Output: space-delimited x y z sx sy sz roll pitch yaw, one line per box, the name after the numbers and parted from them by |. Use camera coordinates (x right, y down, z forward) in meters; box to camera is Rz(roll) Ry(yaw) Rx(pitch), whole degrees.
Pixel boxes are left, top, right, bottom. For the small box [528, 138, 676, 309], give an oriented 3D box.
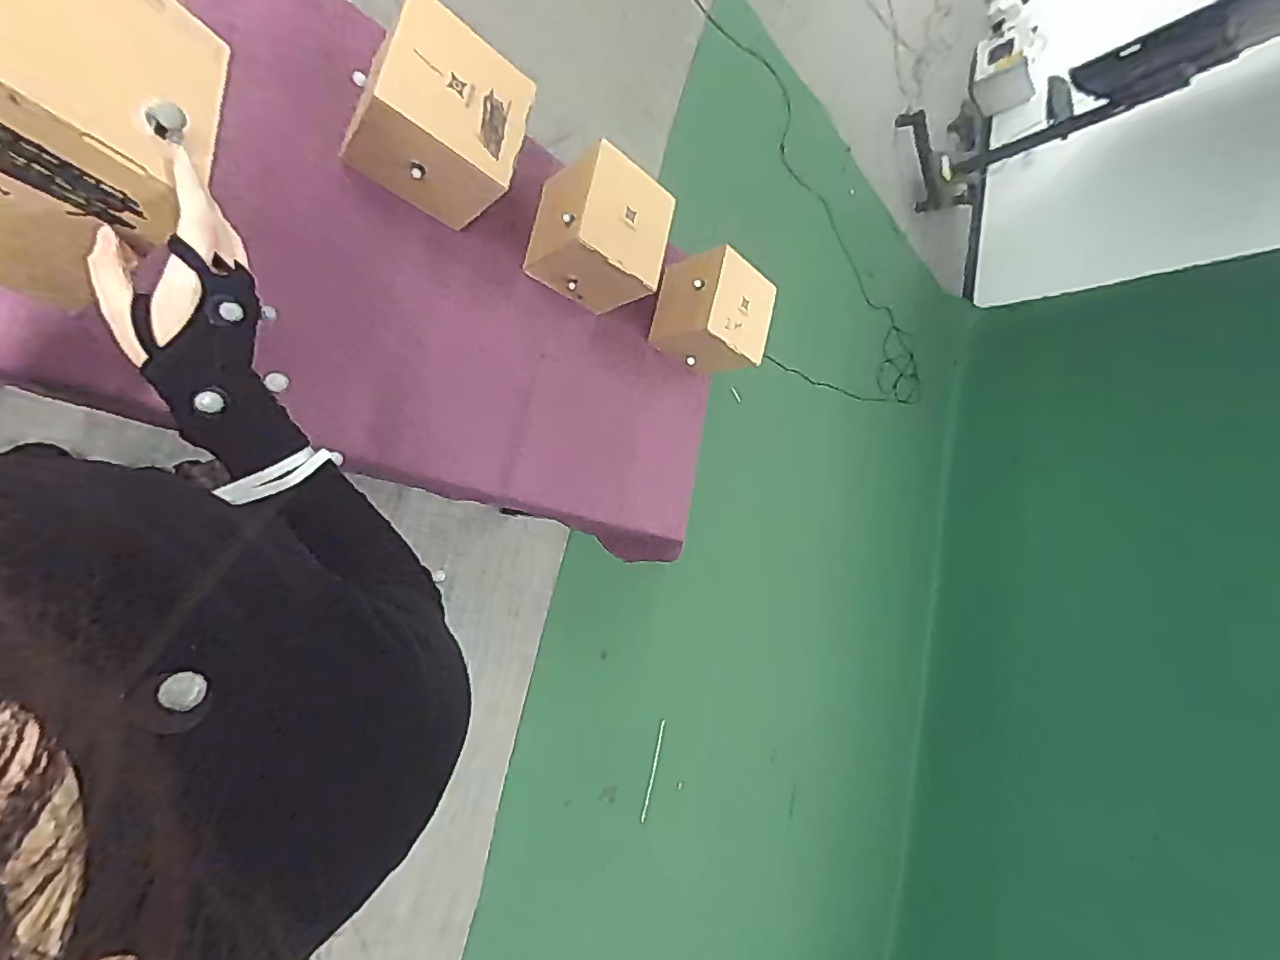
-0.067 -0.417 0.913 0.168 0.176 0.179 19 79 -39 | small box

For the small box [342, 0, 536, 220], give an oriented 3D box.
-0.273 -0.485 0.733 0.179 0.176 0.168 21 77 -38 | small box

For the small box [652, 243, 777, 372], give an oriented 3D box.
0.147 -0.335 1.089 0.168 0.176 0.179 21 79 -38 | small box
